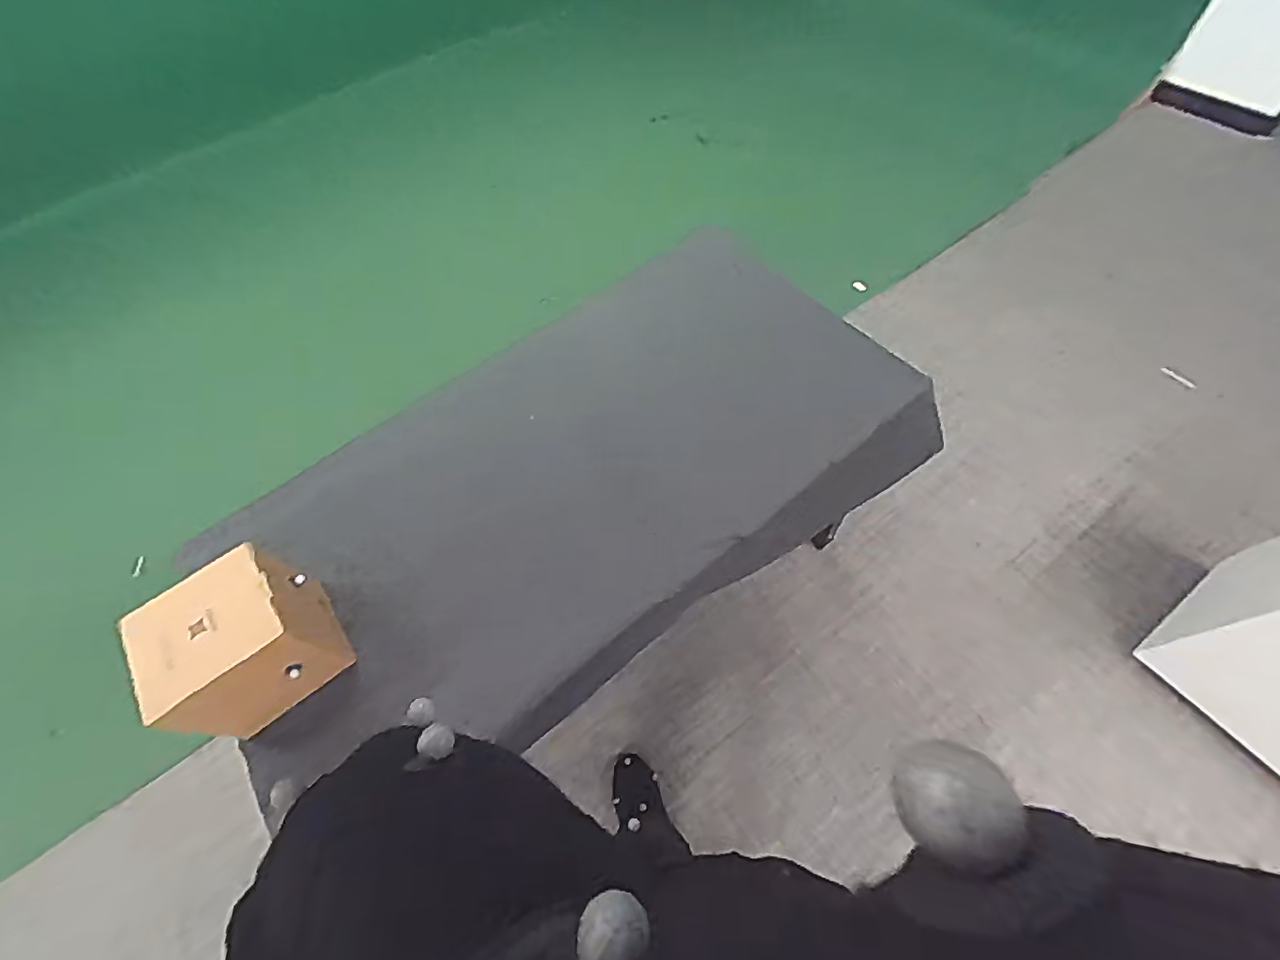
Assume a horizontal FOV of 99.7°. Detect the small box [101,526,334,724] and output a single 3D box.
[{"bbox_3d":[-0.549,0.200,0.729,0.179,0.176,0.168,-36,63,-14],"label":"small box"}]
